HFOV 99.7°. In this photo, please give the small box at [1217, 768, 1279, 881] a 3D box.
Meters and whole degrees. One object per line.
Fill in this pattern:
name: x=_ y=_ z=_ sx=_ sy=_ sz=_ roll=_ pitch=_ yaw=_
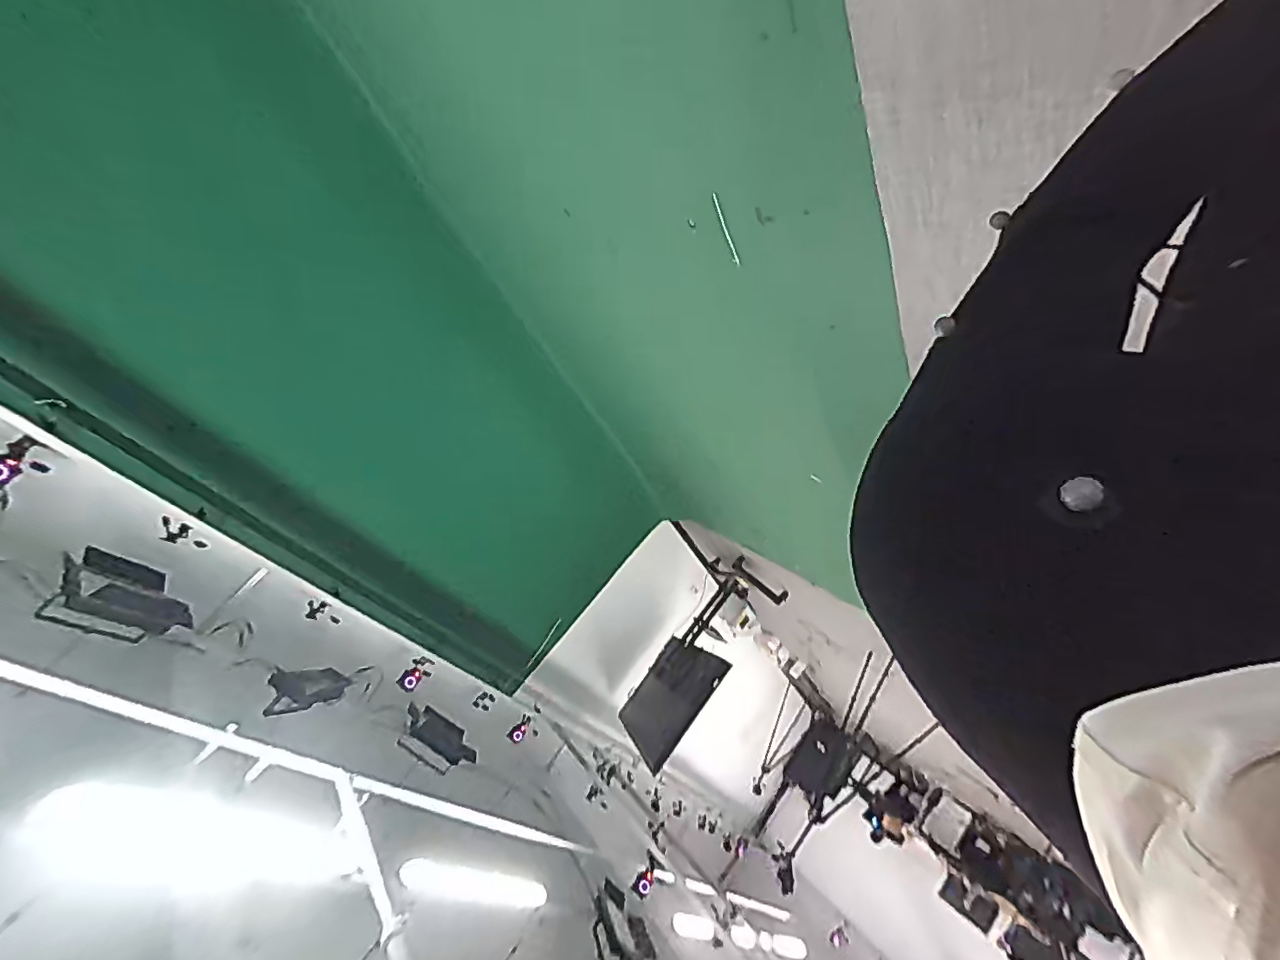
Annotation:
small box: x=1.454 y=0.792 z=1.214 sx=0.168 sy=0.176 sz=0.179 roll=24 pitch=157 yaw=51
